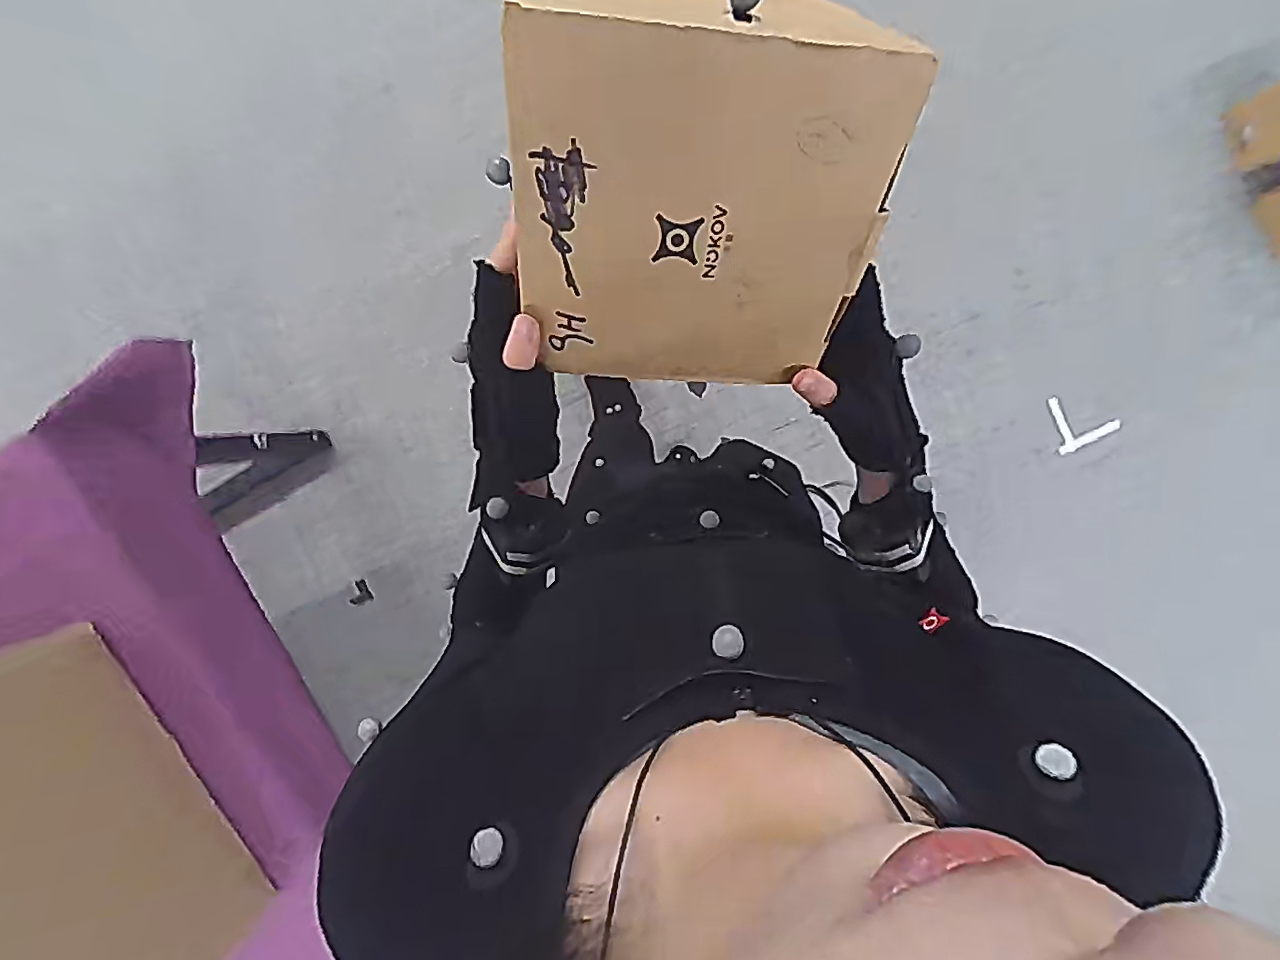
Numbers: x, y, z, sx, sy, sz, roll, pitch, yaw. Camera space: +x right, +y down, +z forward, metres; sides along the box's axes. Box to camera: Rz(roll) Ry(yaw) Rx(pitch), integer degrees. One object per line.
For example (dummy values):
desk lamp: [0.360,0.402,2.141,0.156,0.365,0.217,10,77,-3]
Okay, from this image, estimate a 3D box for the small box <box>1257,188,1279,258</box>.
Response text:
small box: [1.682,-0.669,1.311,0.168,0.176,0.179,-26,96,6]

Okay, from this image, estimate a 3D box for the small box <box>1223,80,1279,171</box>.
small box: [1.576,-0.882,1.287,0.179,0.176,0.168,-23,95,5]

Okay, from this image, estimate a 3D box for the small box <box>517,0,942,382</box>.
small box: [0.026,-0.179,0.321,0.179,0.176,0.168,3,137,-7]
